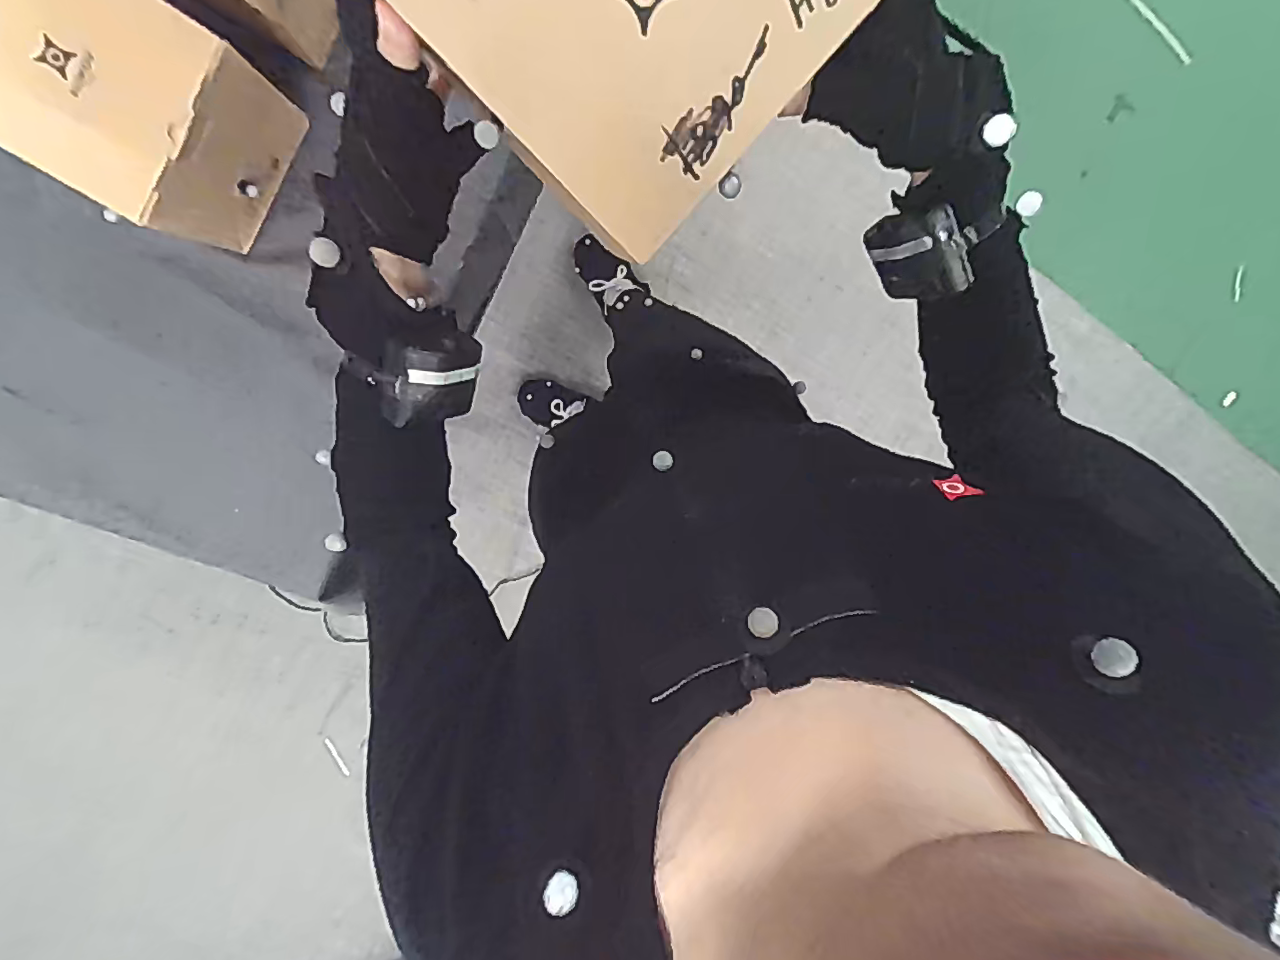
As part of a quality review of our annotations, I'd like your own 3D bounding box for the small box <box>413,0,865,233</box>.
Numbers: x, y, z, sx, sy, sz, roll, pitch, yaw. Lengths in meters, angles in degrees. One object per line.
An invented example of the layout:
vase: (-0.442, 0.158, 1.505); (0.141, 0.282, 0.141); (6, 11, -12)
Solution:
small box: (-0.012, -0.264, 0.303); (0.179, 0.176, 0.168); (40, 104, -23)
